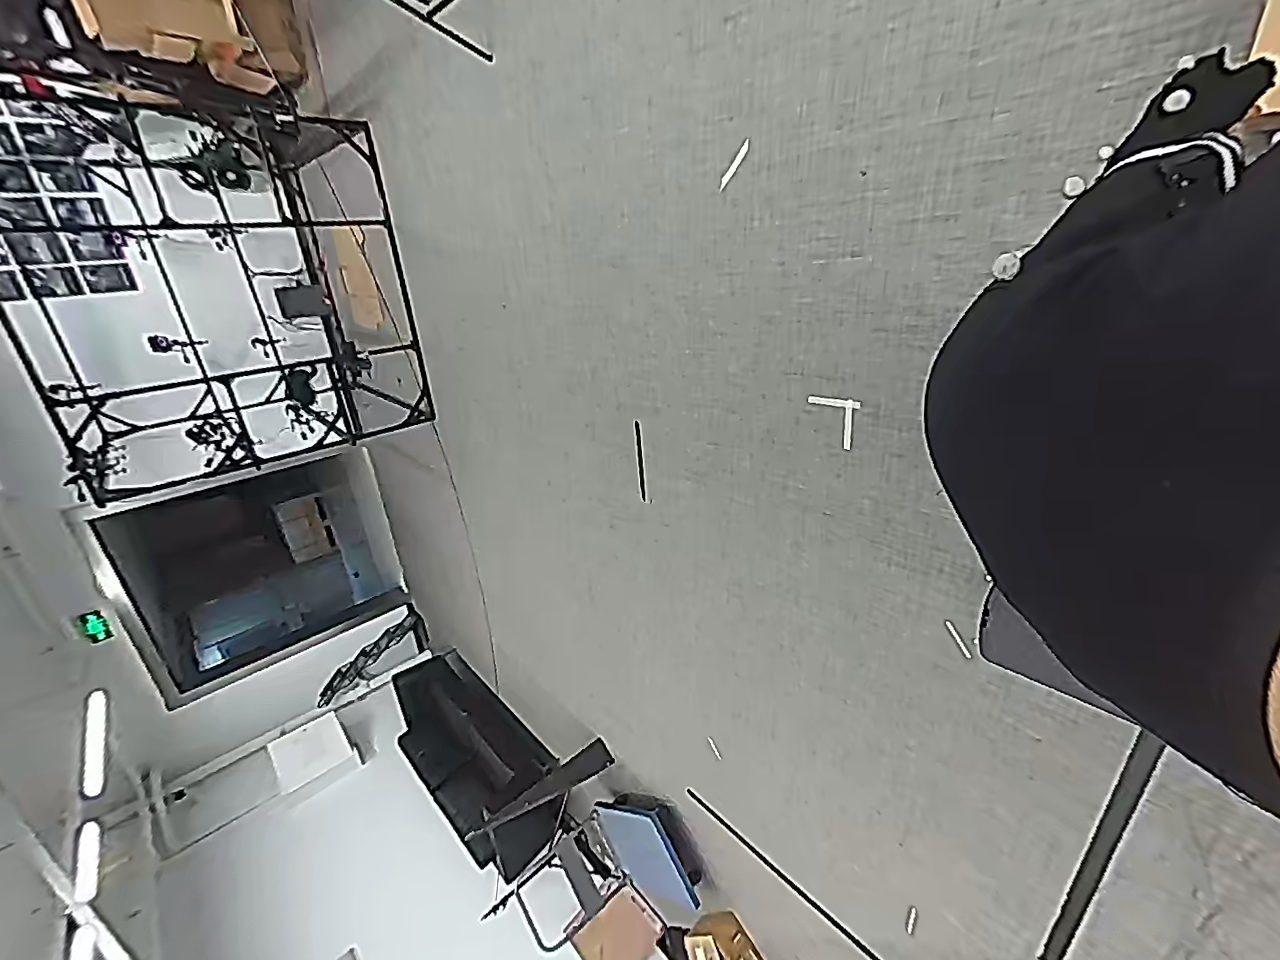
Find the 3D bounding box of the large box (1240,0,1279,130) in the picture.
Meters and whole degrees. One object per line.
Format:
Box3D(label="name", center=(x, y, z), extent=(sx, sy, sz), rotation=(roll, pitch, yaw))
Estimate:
Box3D(label="large box", center=(1.053, -0.643, 0.639), extent=(0.408, 0.320, 0.320), rotation=(21, 124, 43))
